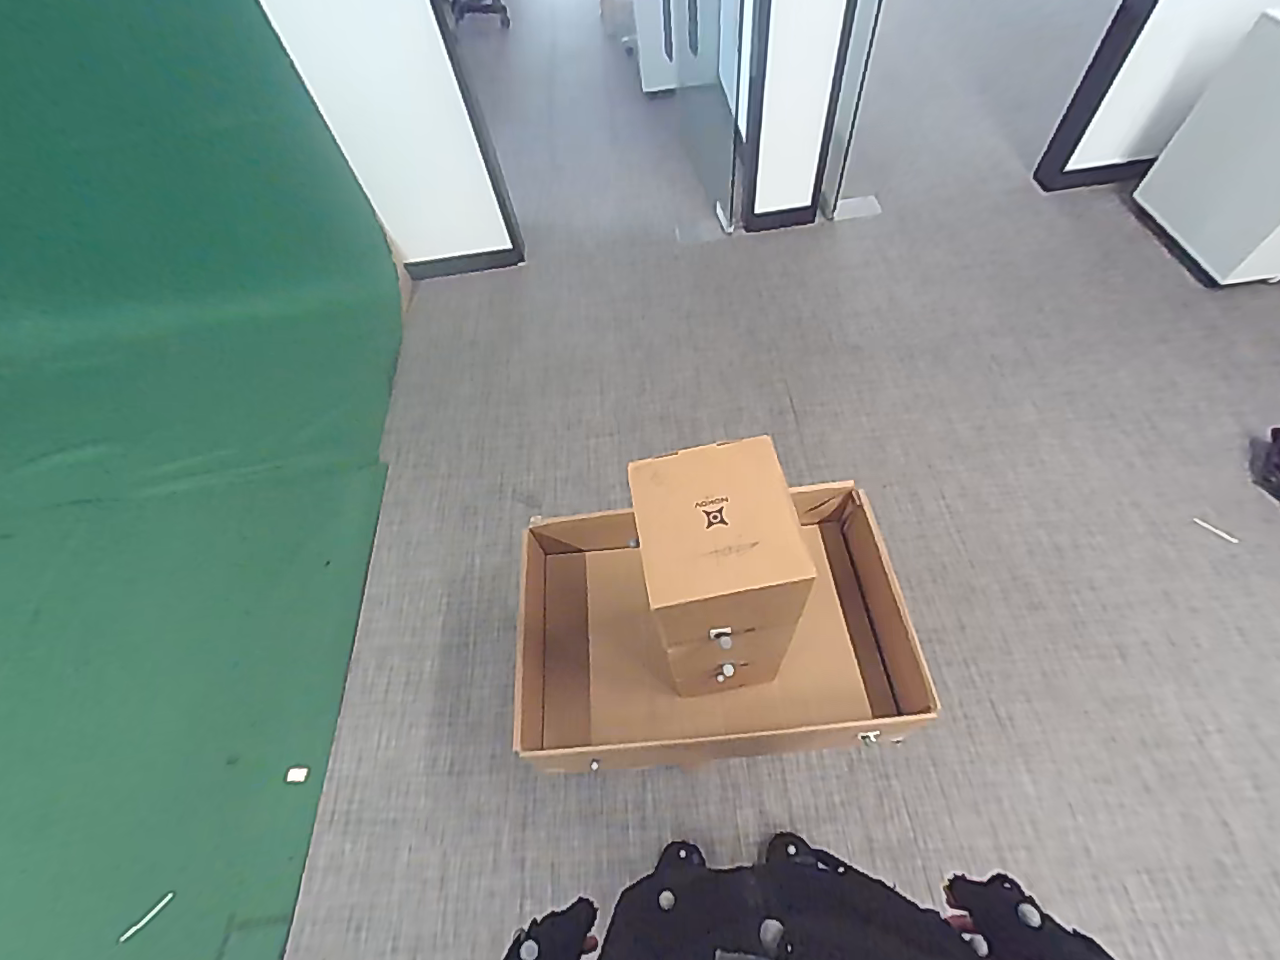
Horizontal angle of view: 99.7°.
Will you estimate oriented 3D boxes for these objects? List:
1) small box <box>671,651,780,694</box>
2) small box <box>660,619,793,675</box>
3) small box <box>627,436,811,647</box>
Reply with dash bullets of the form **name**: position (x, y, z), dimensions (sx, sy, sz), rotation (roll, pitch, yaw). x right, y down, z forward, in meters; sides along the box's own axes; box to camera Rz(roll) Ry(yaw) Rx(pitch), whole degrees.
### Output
- **small box**: position (0.127, 0.243, 0.915), dimensions (0.168, 0.176, 0.179), rotation (-12, 57, 2)
- **small box**: position (0.105, 0.162, 0.774), dimensions (0.168, 0.176, 0.179), rotation (-11, 58, 1)
- **small box**: position (0.085, 0.078, 0.638), dimensions (0.168, 0.176, 0.179), rotation (-12, 58, 2)
